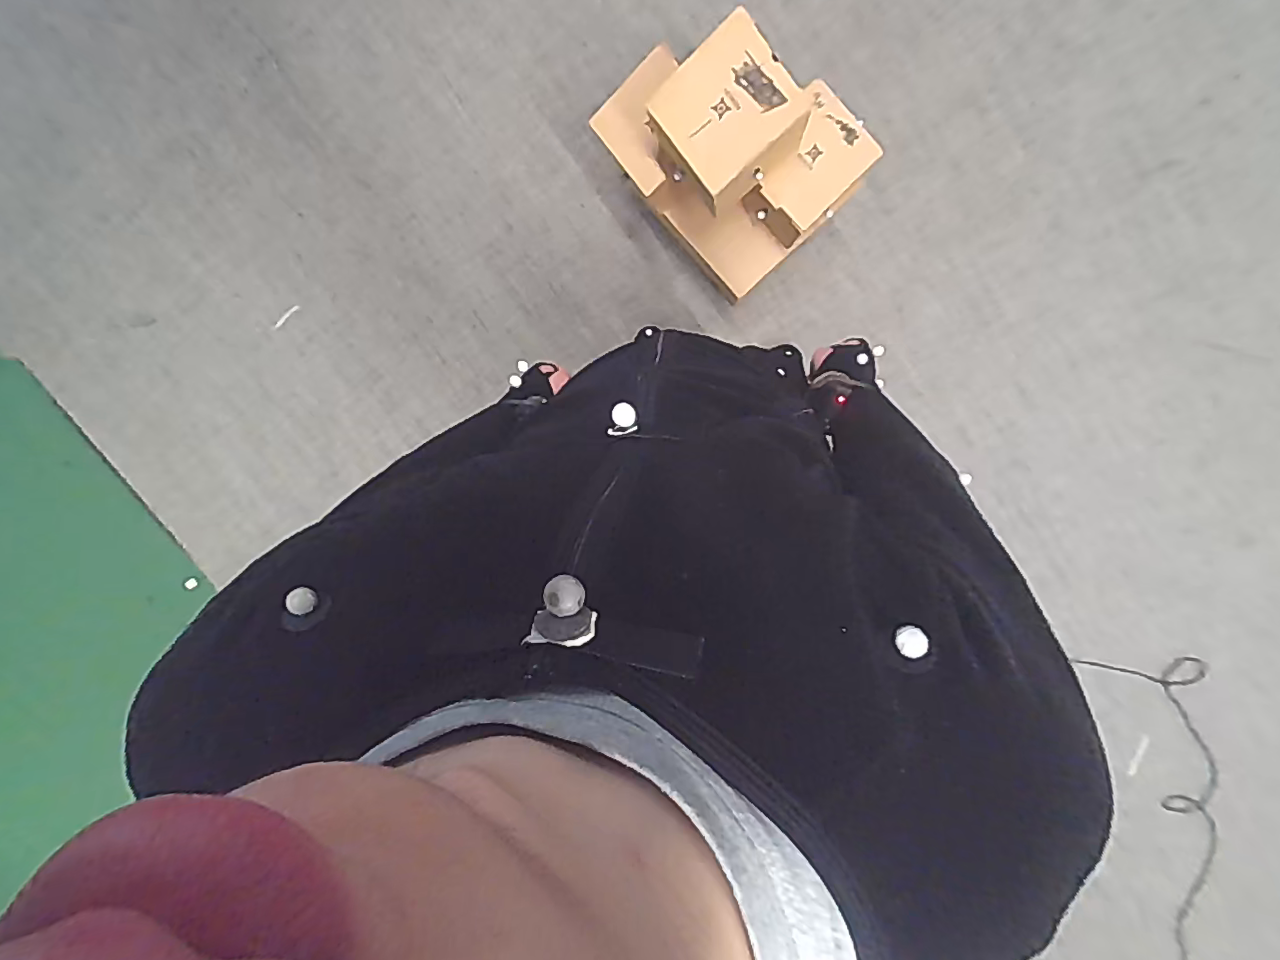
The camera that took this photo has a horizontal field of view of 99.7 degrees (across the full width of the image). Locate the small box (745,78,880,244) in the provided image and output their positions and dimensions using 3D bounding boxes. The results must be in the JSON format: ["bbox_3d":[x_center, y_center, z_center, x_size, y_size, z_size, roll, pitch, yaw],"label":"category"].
[{"bbox_3d":[0.294,-0.560,0.983,0.179,0.176,0.168,-43,95,16],"label":"small box"}]

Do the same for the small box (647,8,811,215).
[{"bbox_3d":[0.136,-0.550,0.838,0.179,0.176,0.168,-37,96,18],"label":"small box"}]
